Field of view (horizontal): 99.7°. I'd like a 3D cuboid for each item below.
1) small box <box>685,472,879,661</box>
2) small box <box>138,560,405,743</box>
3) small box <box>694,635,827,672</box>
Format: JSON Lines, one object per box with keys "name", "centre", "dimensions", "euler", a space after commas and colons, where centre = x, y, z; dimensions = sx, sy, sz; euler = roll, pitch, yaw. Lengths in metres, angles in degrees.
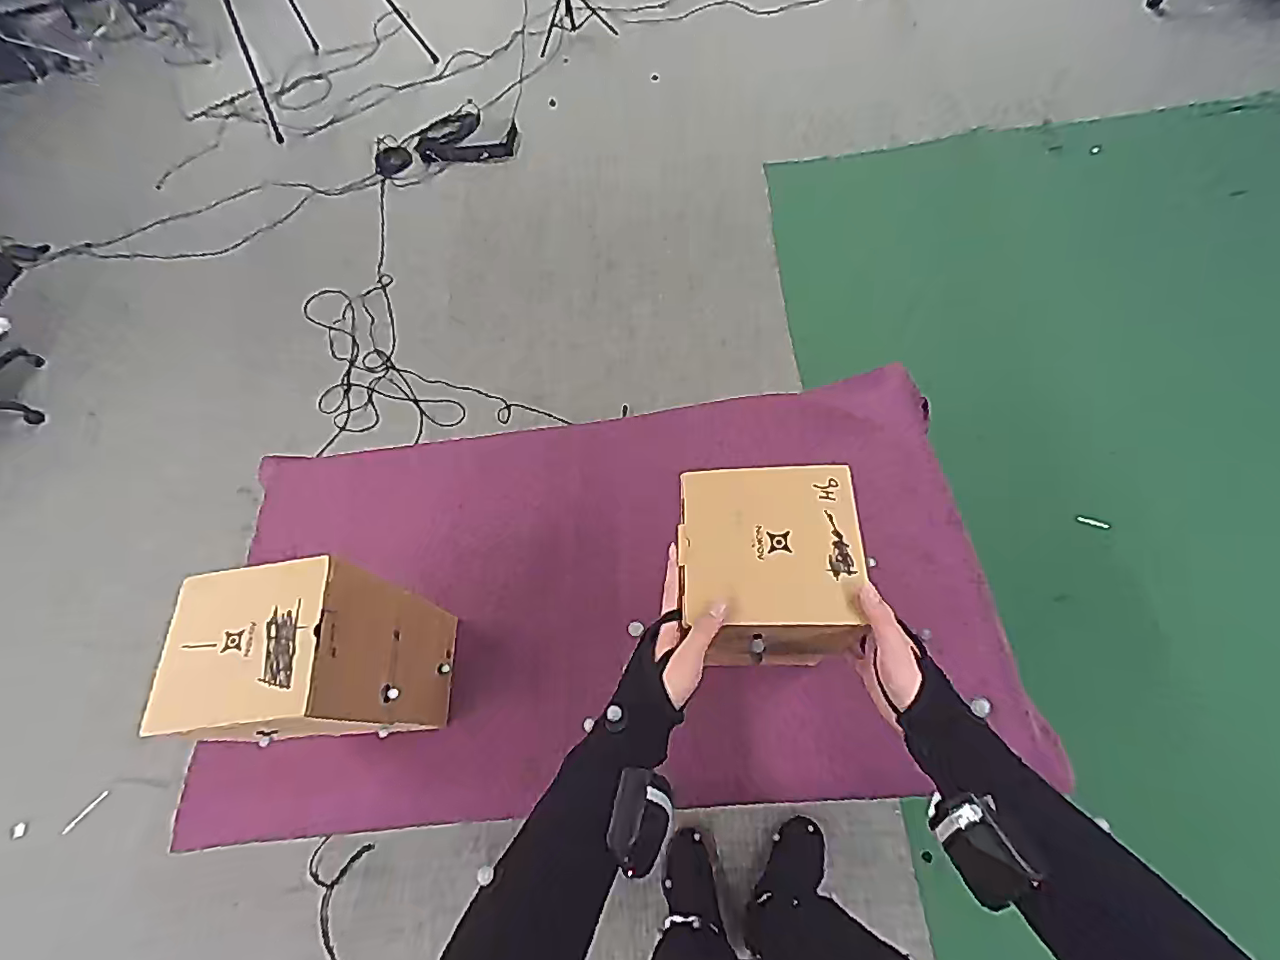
{"name": "small box", "centre": [0.145, 0.104, 0.602], "dimensions": [0.179, 0.176, 0.168], "euler": [-2, 63, 8]}
{"name": "small box", "centre": [-0.395, 0.203, 0.620], "dimensions": [0.179, 0.176, 0.168], "euler": [-8, 62, 4]}
{"name": "small box", "centre": [0.165, 0.169, 0.752], "dimensions": [0.179, 0.176, 0.168], "euler": [-2, 63, 8]}
